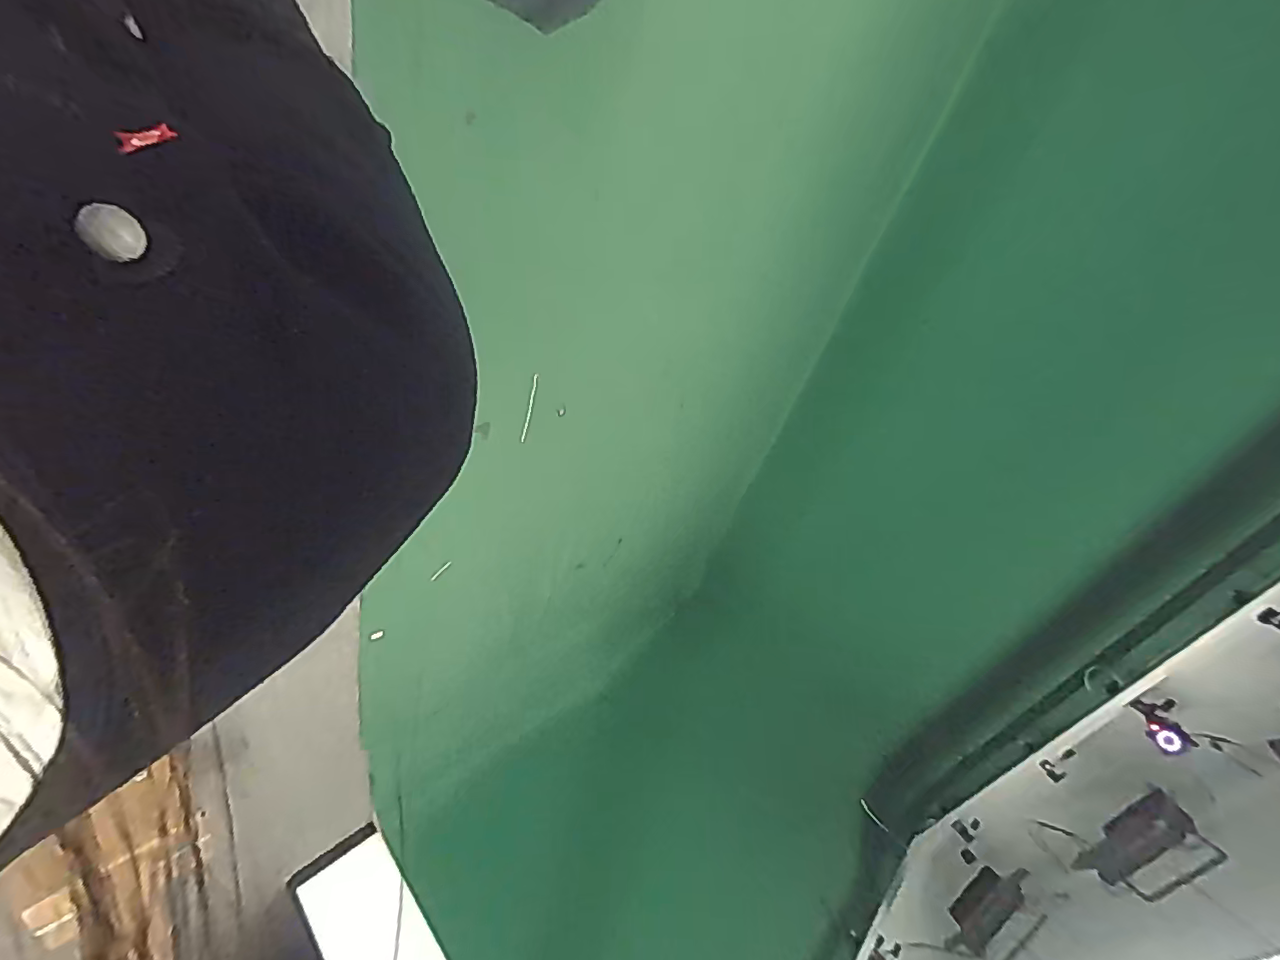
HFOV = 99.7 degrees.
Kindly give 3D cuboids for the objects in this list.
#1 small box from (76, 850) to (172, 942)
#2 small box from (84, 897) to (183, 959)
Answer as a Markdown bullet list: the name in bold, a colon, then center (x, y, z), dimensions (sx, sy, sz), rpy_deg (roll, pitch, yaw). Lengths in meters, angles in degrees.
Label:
- **small box**: center (-1.532, 1.251, 1.607), dimensions (0.168, 0.176, 0.179), rpy_deg (-19, 139, -46)
- **small box**: center (-1.423, 1.340, 1.520), dimensions (0.179, 0.176, 0.168), rpy_deg (-17, 138, -49)
